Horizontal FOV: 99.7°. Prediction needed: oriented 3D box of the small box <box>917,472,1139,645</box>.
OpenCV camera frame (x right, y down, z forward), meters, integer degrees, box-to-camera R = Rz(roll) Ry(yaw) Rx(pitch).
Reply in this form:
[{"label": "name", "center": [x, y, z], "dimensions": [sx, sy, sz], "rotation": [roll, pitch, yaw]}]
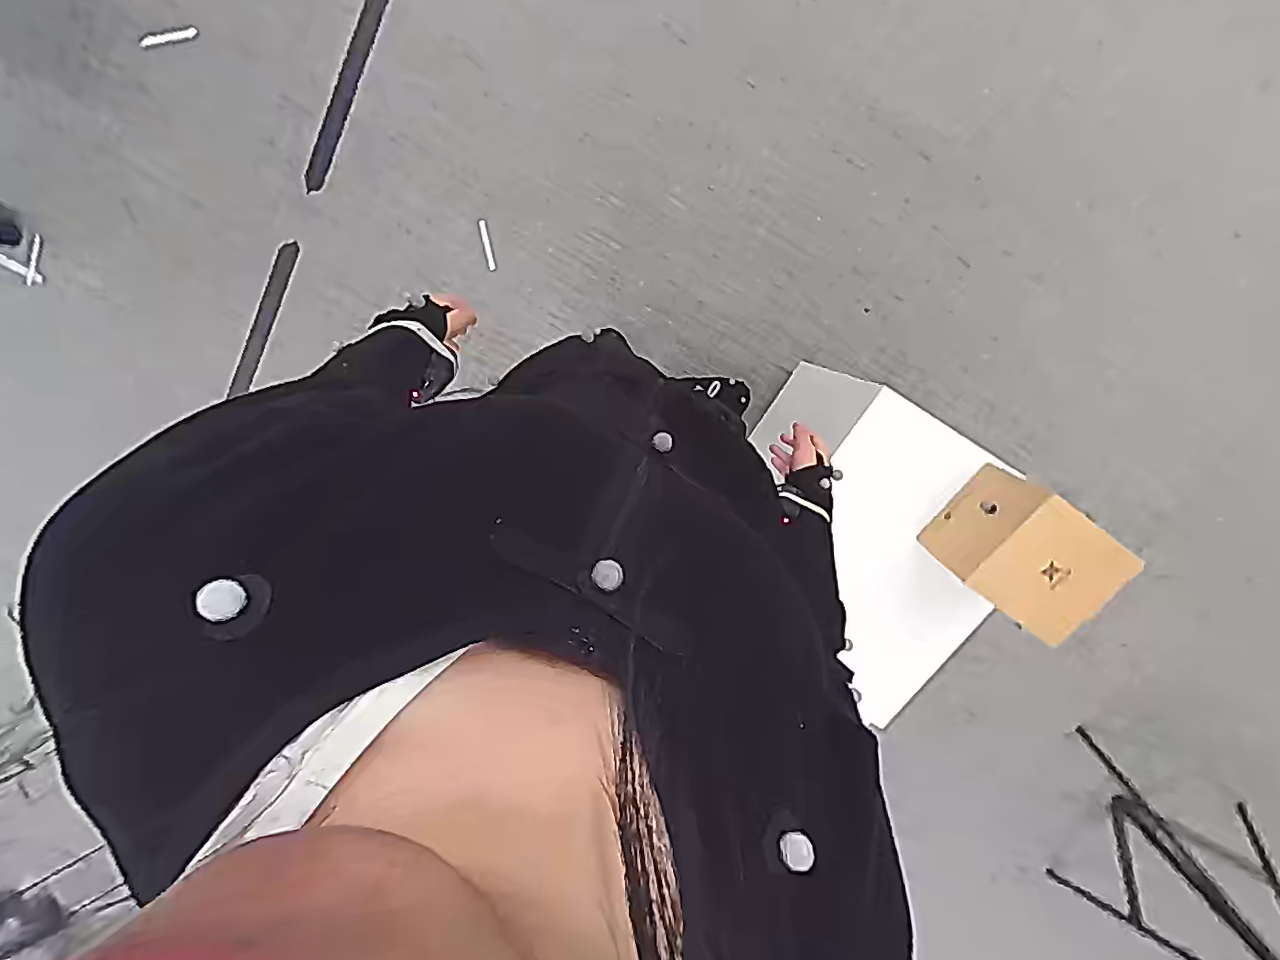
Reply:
[{"label": "small box", "center": [0.565, 0.105, 0.818], "dimensions": [0.179, 0.176, 0.168], "rotation": [35, 106, -7]}]
